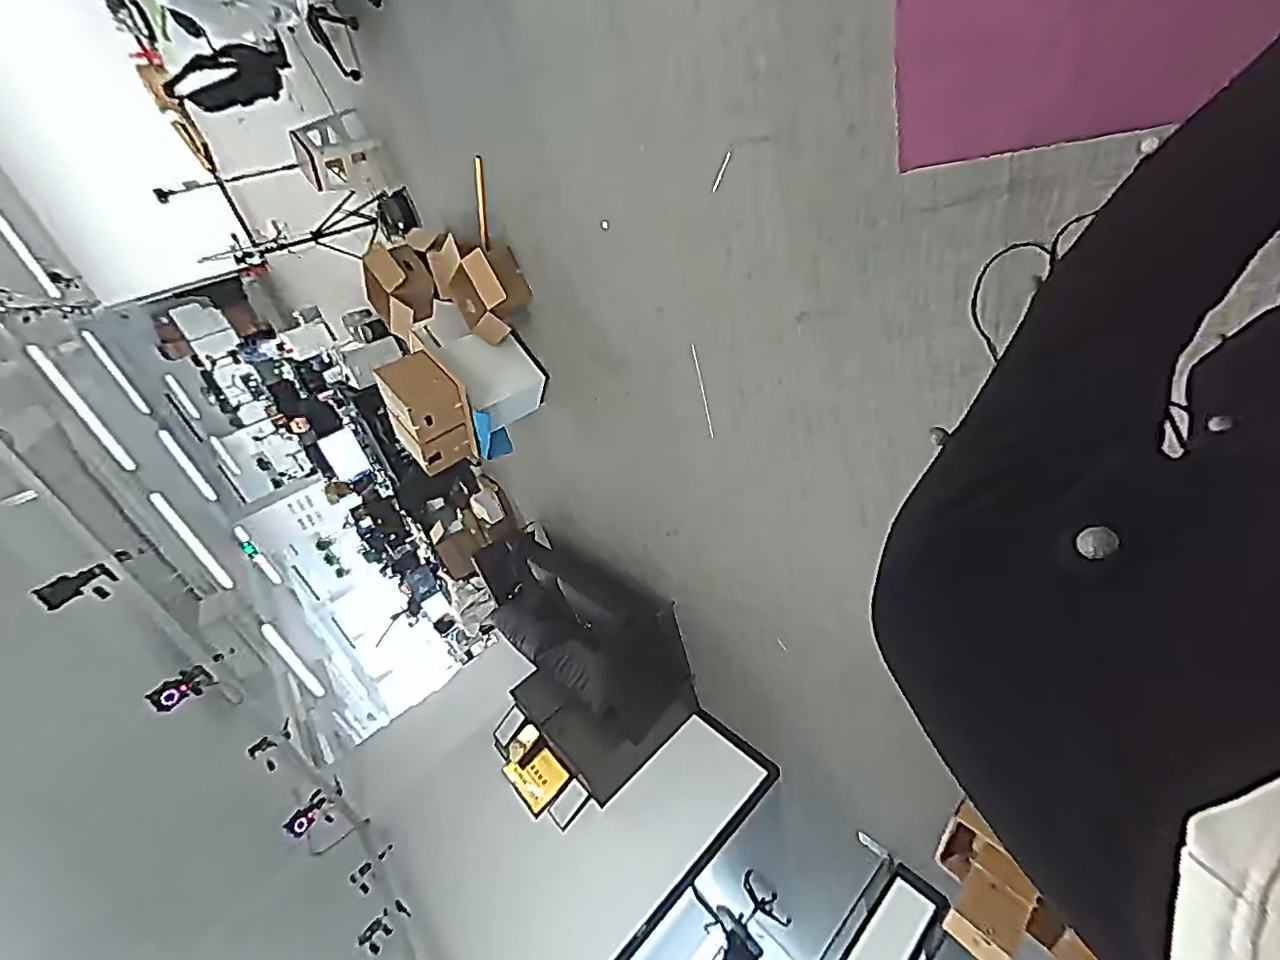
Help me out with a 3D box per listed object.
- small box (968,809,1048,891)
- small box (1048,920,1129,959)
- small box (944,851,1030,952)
[{"bbox_3d":[1.223,1.250,1.801,0.168,0.176,0.179,26,140,41],"label":"small box"},{"bbox_3d":[1.282,1.424,1.548,0.168,0.176,0.179,24,139,43],"label":"small box"},{"bbox_3d":[1.107,1.342,1.727,0.168,0.176,0.179,28,142,39],"label":"small box"}]
